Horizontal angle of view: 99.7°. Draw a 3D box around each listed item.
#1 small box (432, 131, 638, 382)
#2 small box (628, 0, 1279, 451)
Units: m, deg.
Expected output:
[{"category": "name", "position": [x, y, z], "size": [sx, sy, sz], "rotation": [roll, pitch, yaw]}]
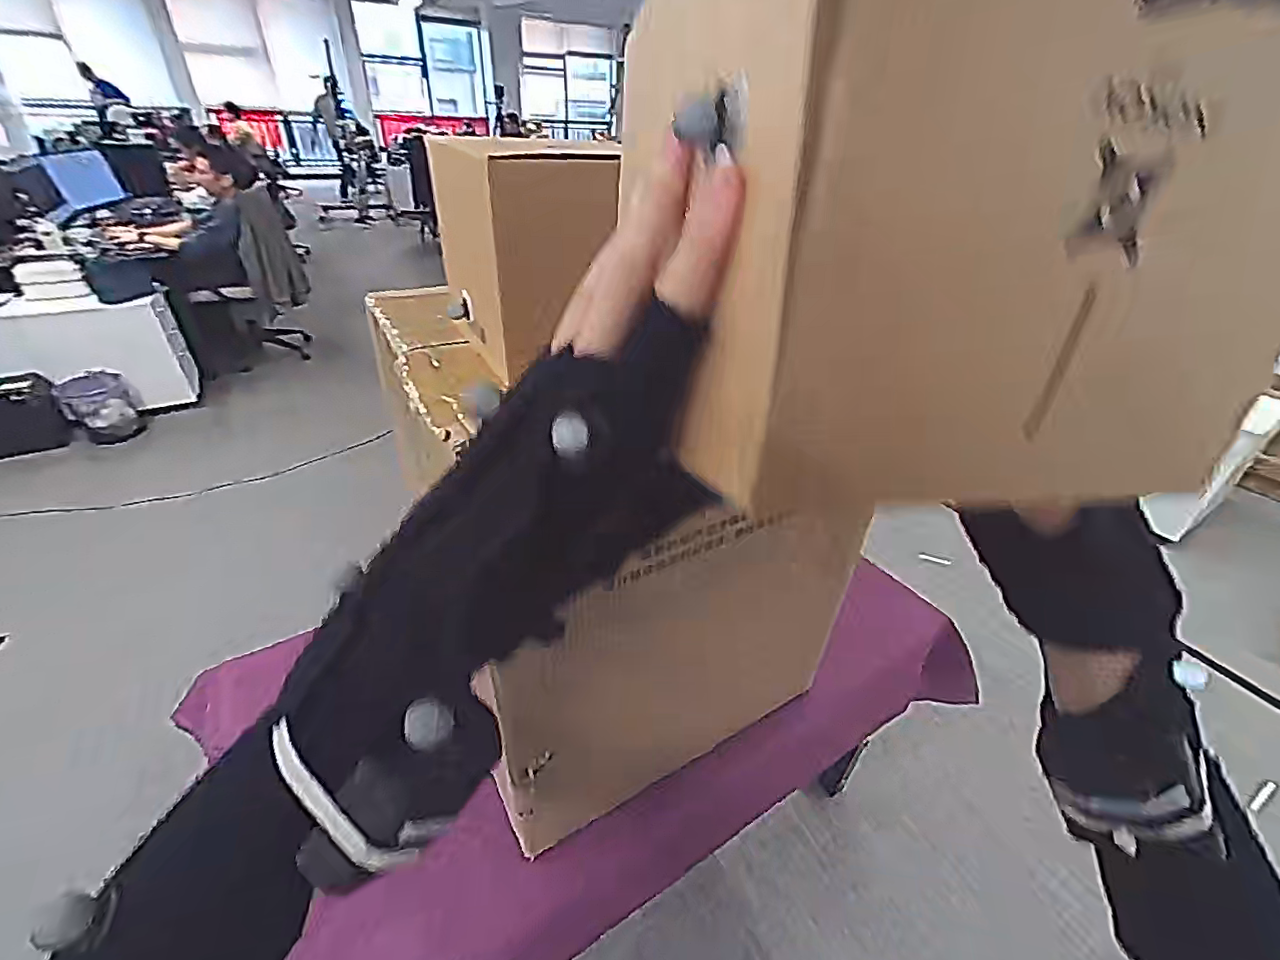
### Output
[{"category": "small box", "position": [-0.067, -0.205, 0.485], "size": [0.179, 0.176, 0.168], "rotation": [-17, 39, -26]}, {"category": "small box", "position": [0.094, -0.110, 0.211], "size": [0.168, 0.179, 0.176], "rotation": [-1, 13, -14]}]
